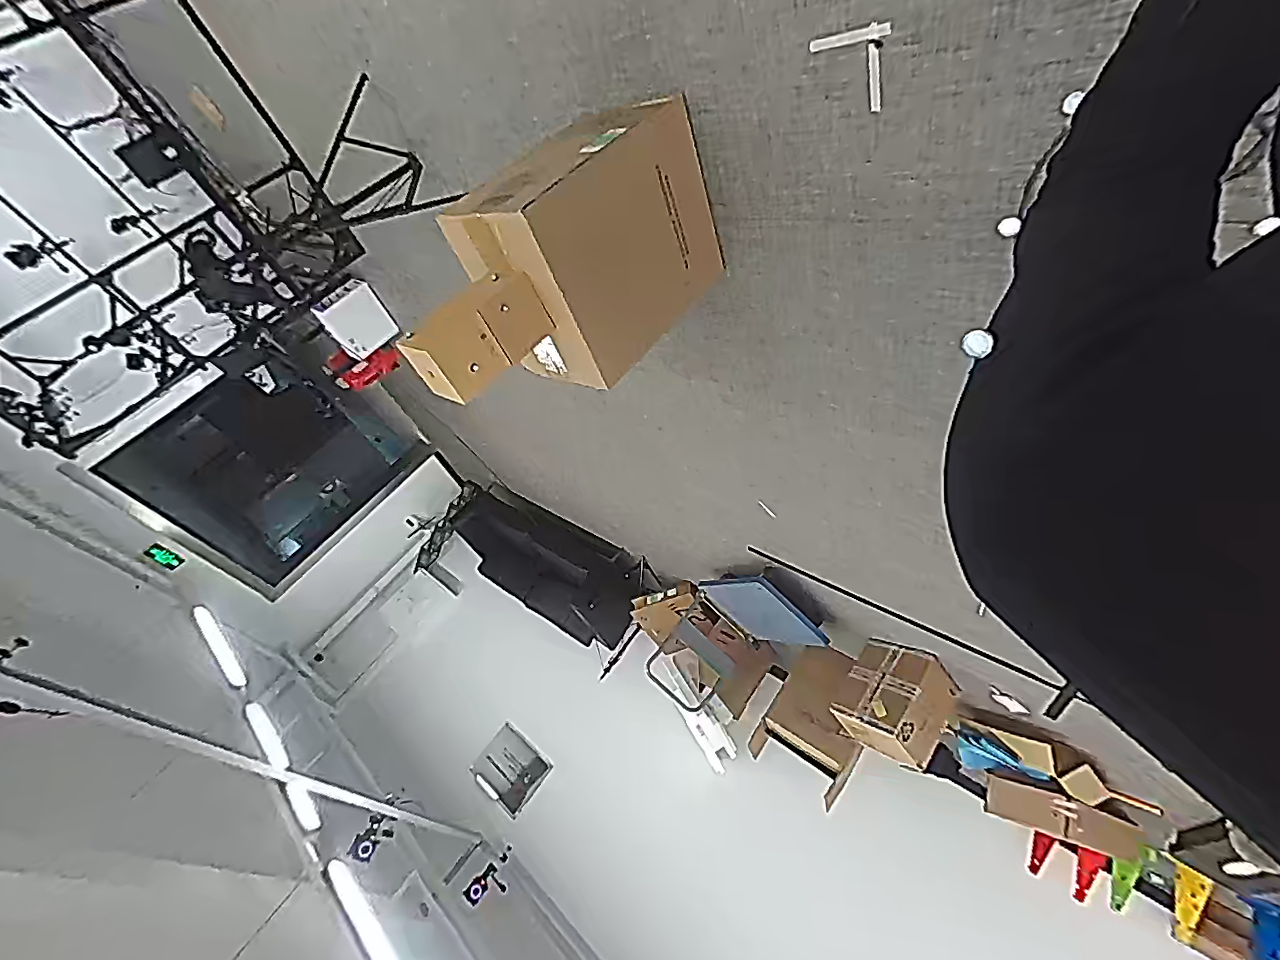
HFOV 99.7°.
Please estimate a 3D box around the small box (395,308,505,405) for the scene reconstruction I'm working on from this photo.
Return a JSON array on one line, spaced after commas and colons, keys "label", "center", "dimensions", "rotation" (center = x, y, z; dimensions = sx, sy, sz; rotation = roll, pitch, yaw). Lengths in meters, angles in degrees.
[{"label": "small box", "center": [-0.467, -0.315, 1.362], "dimensions": [0.179, 0.176, 0.168], "rotation": [21, 151, 41]}]
